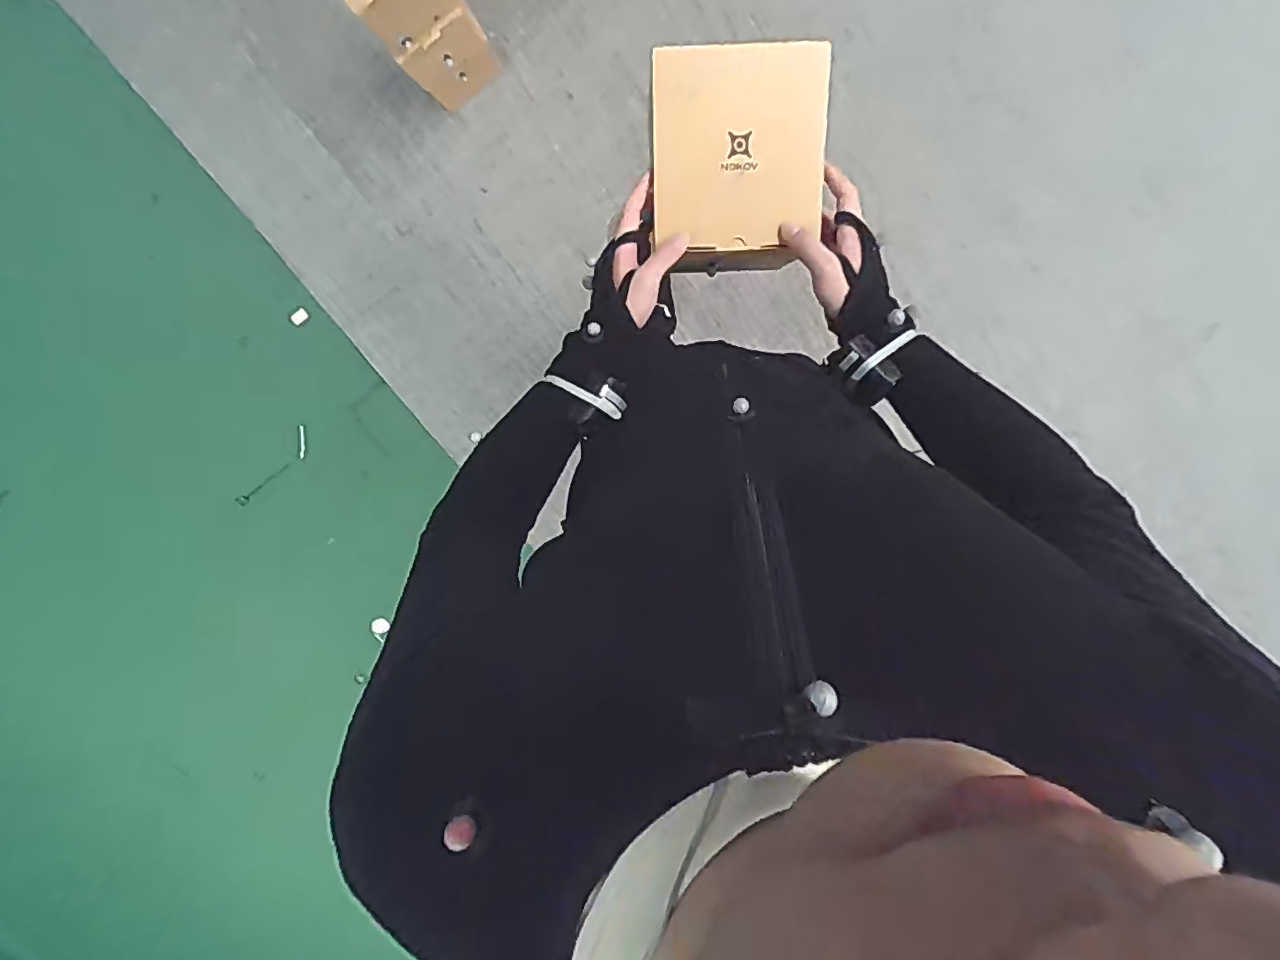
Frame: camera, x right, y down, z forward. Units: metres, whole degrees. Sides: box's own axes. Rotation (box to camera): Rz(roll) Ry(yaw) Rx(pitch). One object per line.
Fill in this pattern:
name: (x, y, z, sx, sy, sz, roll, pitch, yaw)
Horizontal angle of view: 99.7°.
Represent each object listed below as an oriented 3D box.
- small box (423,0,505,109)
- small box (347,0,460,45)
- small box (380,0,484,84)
small box: (-0.440, -1.003, 1.247, 0.179, 0.176, 0.168, -29, 106, 10)
small box: (-0.443, -0.904, 0.934, 0.168, 0.176, 0.179, -31, 105, 11)
small box: (-0.445, -0.945, 1.094, 0.168, 0.176, 0.179, -30, 107, 10)
